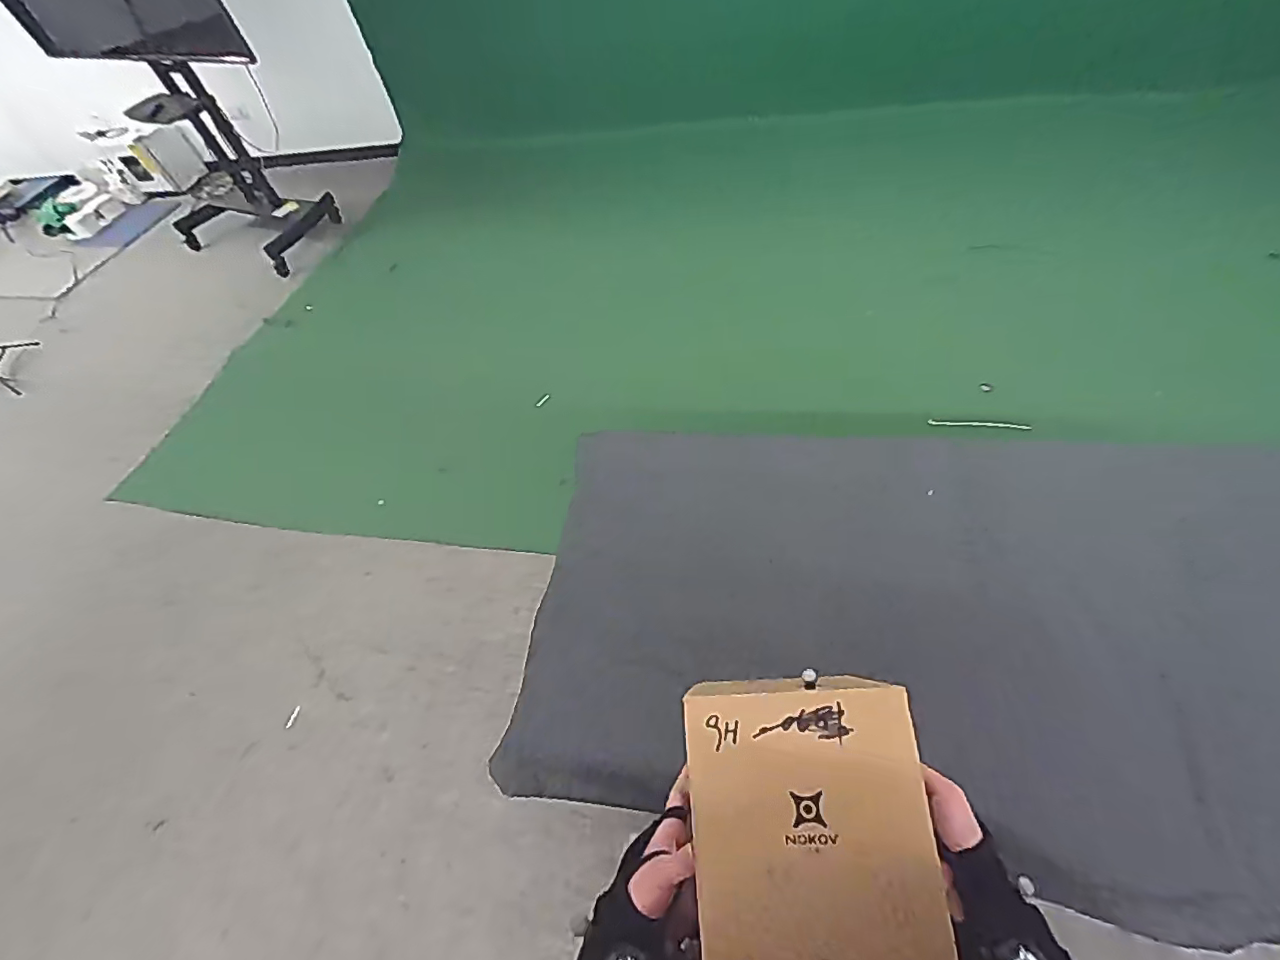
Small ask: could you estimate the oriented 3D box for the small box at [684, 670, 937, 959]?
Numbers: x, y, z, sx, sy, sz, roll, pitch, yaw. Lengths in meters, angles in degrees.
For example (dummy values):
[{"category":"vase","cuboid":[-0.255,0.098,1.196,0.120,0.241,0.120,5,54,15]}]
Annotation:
[{"category":"small box","cuboid":[0.129,0.267,0.471,0.168,0.176,0.179,-4,74,7]}]
